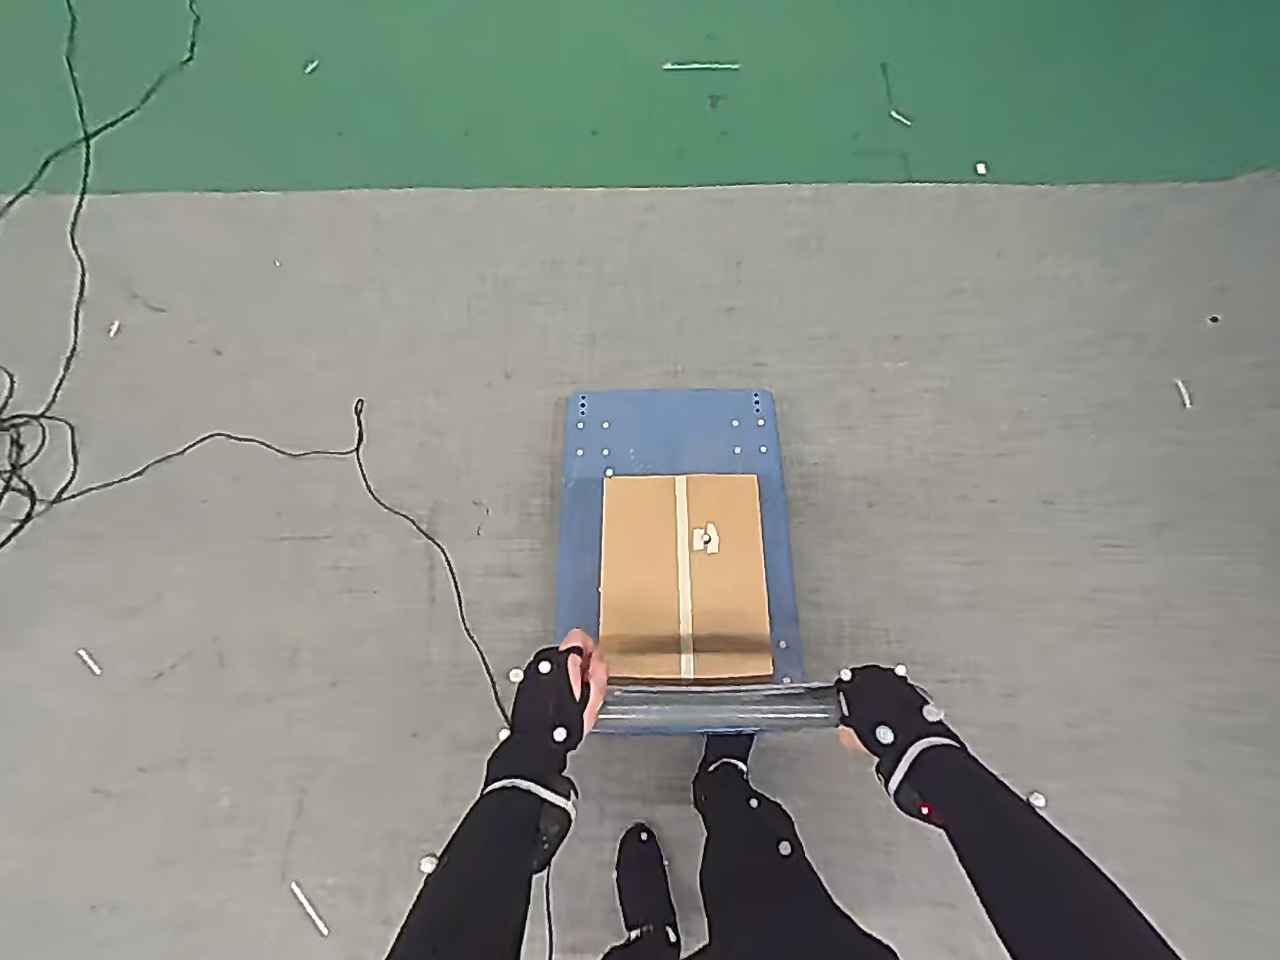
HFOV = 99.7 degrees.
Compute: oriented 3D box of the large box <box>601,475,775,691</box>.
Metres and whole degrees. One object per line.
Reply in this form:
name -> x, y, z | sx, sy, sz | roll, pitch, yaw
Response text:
large box -> 0.086, 0.235, 1.165 | 0.320, 0.320, 0.408 | -1, 68, 0
